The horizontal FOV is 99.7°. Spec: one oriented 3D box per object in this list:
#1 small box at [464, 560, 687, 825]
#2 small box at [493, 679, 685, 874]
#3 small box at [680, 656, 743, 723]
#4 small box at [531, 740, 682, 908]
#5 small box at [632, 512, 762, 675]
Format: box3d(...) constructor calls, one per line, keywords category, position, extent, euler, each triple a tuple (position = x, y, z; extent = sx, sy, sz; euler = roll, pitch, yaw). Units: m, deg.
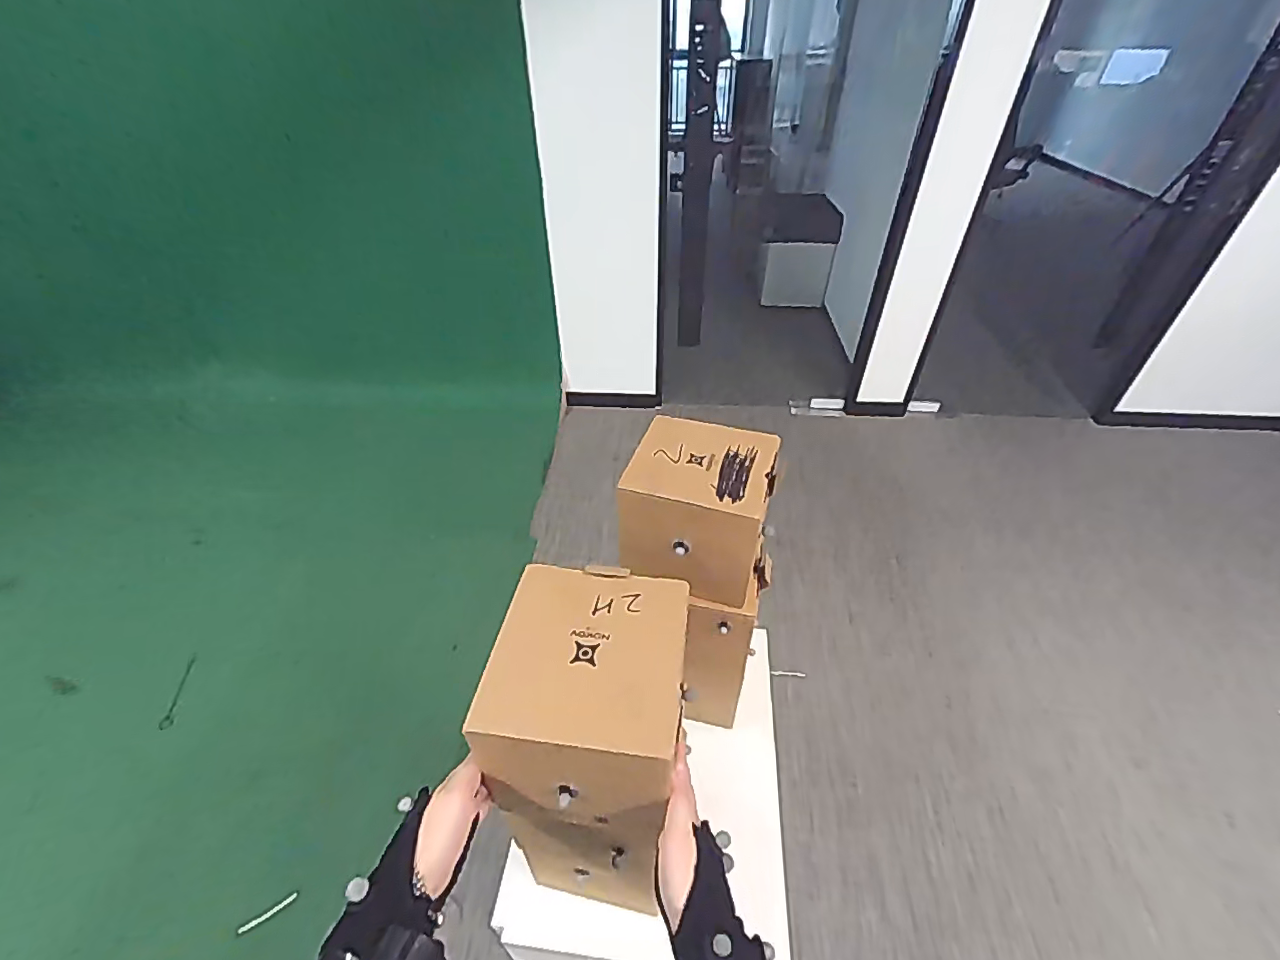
box3d(category="small box", position=(-0.047, 0.206, 0.528), extent=(0.168, 0.176, 0.179), euler=(6, 40, 6))
box3d(category="small box", position=(-0.048, 0.336, 0.641), extent=(0.179, 0.176, 0.168), euler=(7, 39, 9))
box3d(category="small box", position=(0.089, 0.296, 0.939), extent=(0.179, 0.176, 0.168), euler=(9, 42, 11))
box3d(category="small box", position=(-0.045, 0.458, 0.749), extent=(0.179, 0.176, 0.168), euler=(9, 41, 9))
box3d(category="small box", position=(0.083, 0.174, 0.831), extent=(0.179, 0.176, 0.168), euler=(9, 42, 10))
